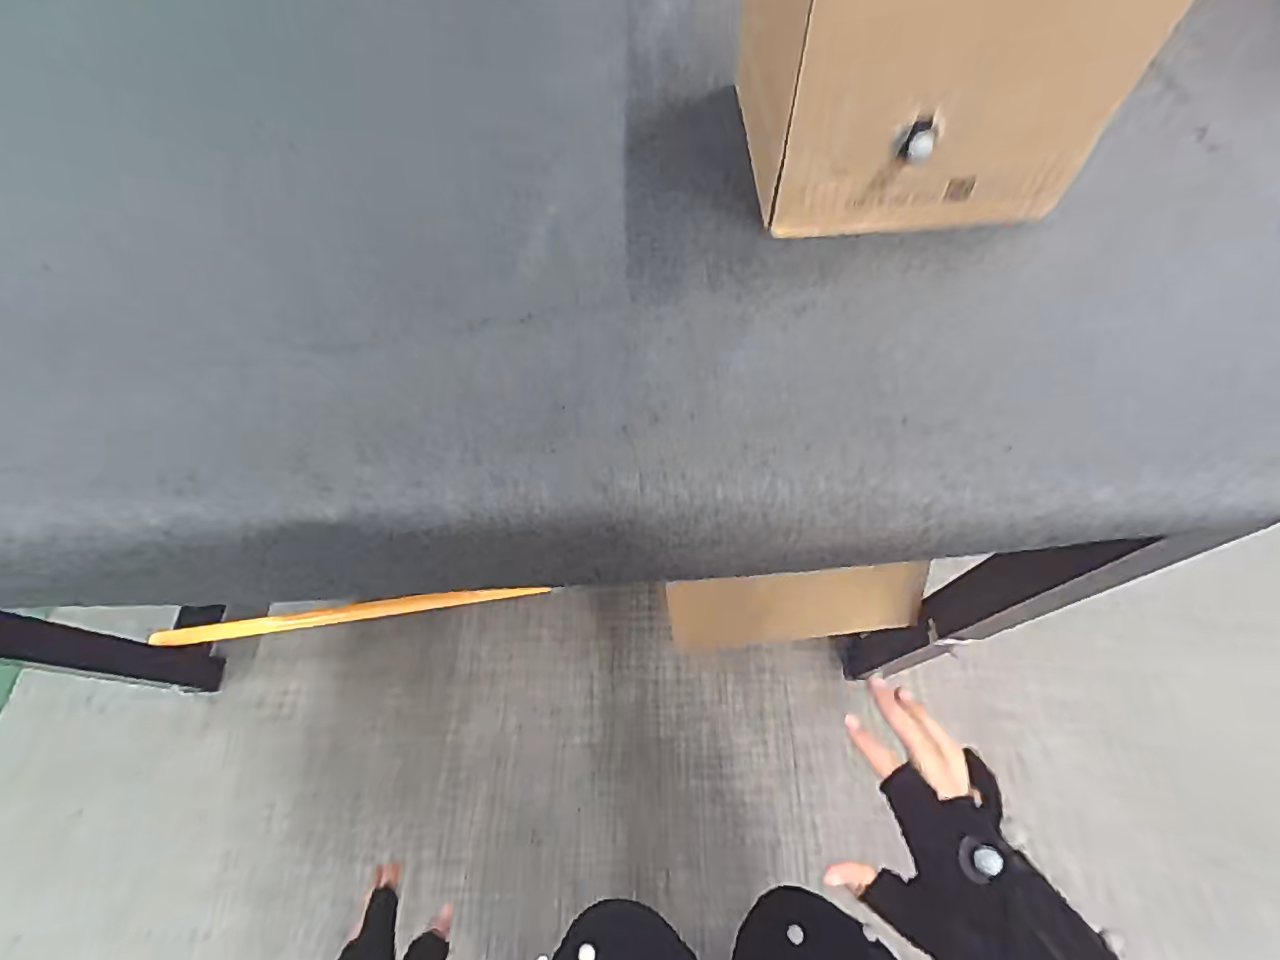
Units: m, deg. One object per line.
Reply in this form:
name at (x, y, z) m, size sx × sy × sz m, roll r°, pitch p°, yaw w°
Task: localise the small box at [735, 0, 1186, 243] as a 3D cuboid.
small box at (0.150, -0.260, 0.298) m, size 0.168 × 0.176 × 0.179 m, roll -3°, pitch 63°, yaw 2°
